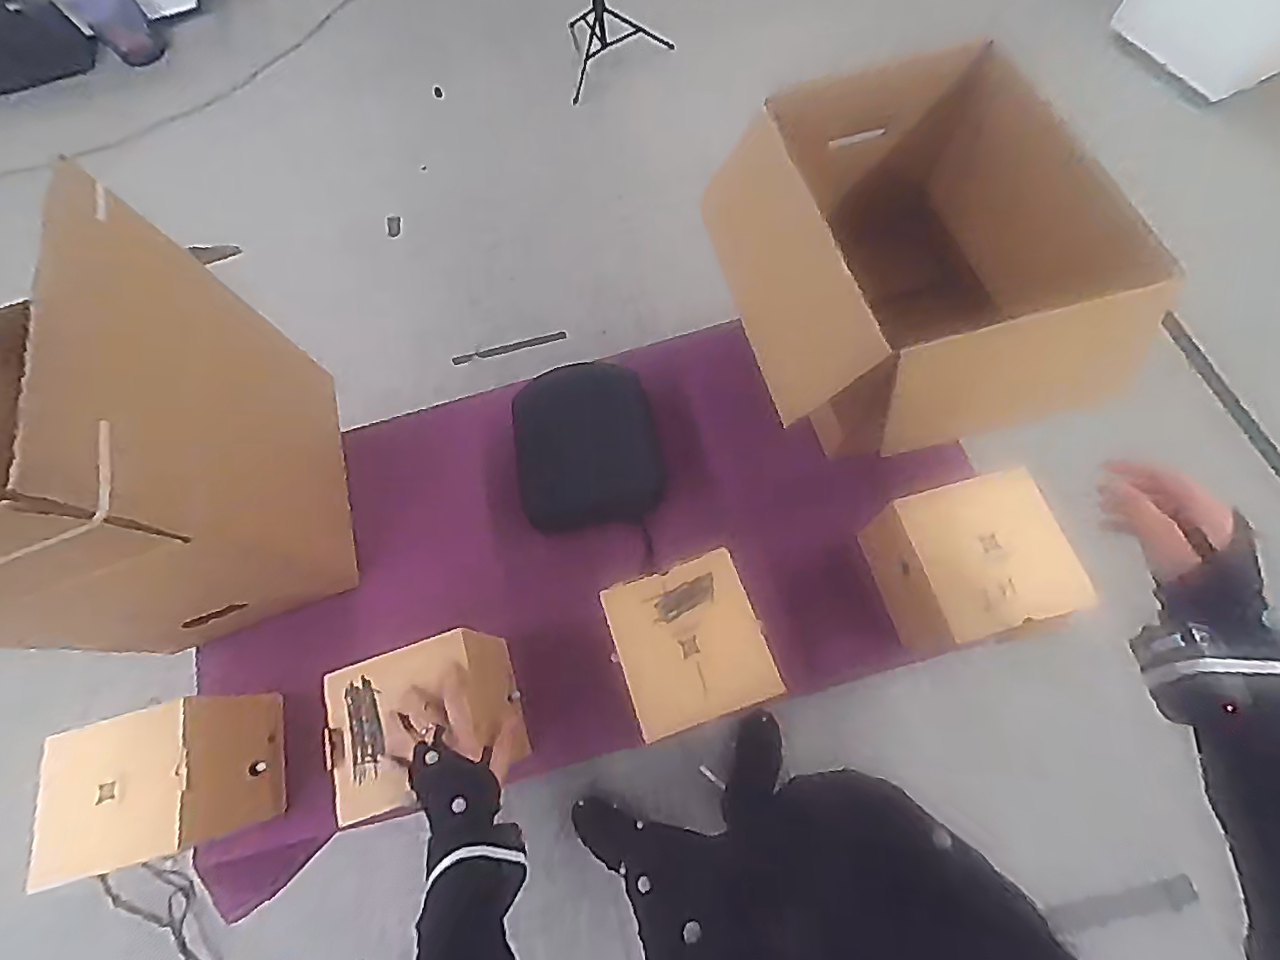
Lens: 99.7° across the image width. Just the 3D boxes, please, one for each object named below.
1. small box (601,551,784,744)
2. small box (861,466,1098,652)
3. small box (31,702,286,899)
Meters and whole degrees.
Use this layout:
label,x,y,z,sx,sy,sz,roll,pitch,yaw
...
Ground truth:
label,x,y,z,sx,sy,sz,roll,pitch,yaw
small box,0.062,0.213,0.692,0.168,0.176,0.179,-20,69,-1
small box,0.407,0.109,0.690,0.168,0.176,0.179,-16,68,2
small box,-0.597,0.394,0.696,0.179,0.176,0.168,-17,69,-1
